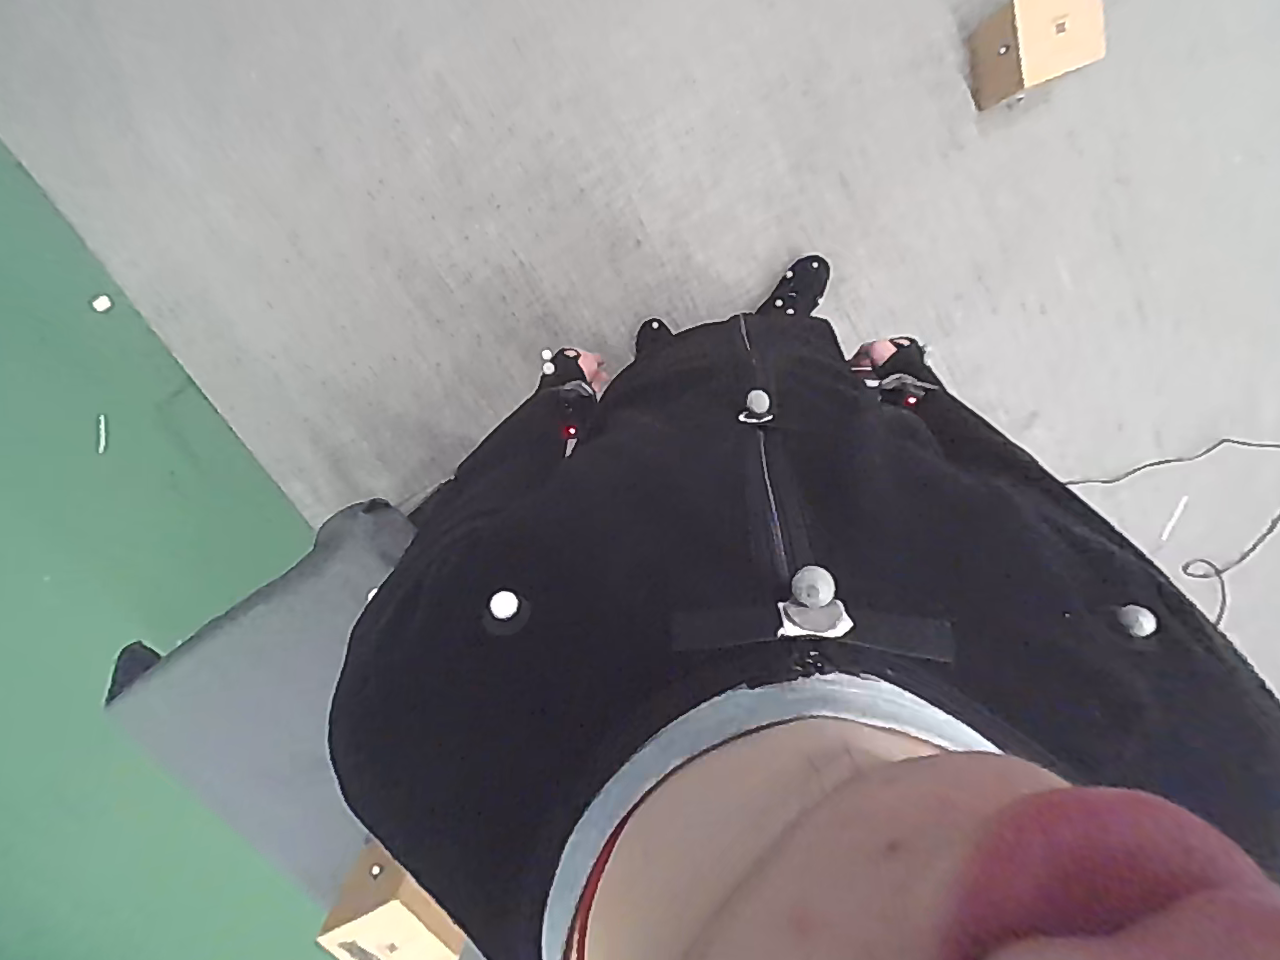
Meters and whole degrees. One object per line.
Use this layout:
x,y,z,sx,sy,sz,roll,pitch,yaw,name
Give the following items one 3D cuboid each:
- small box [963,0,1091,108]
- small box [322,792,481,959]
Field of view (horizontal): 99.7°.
0.845,-0.969,1.195,0.168,0.176,0.179,-18,109,7,small box
-0.422,0.721,0.990,0.179,0.176,0.168,-31,106,9,small box
